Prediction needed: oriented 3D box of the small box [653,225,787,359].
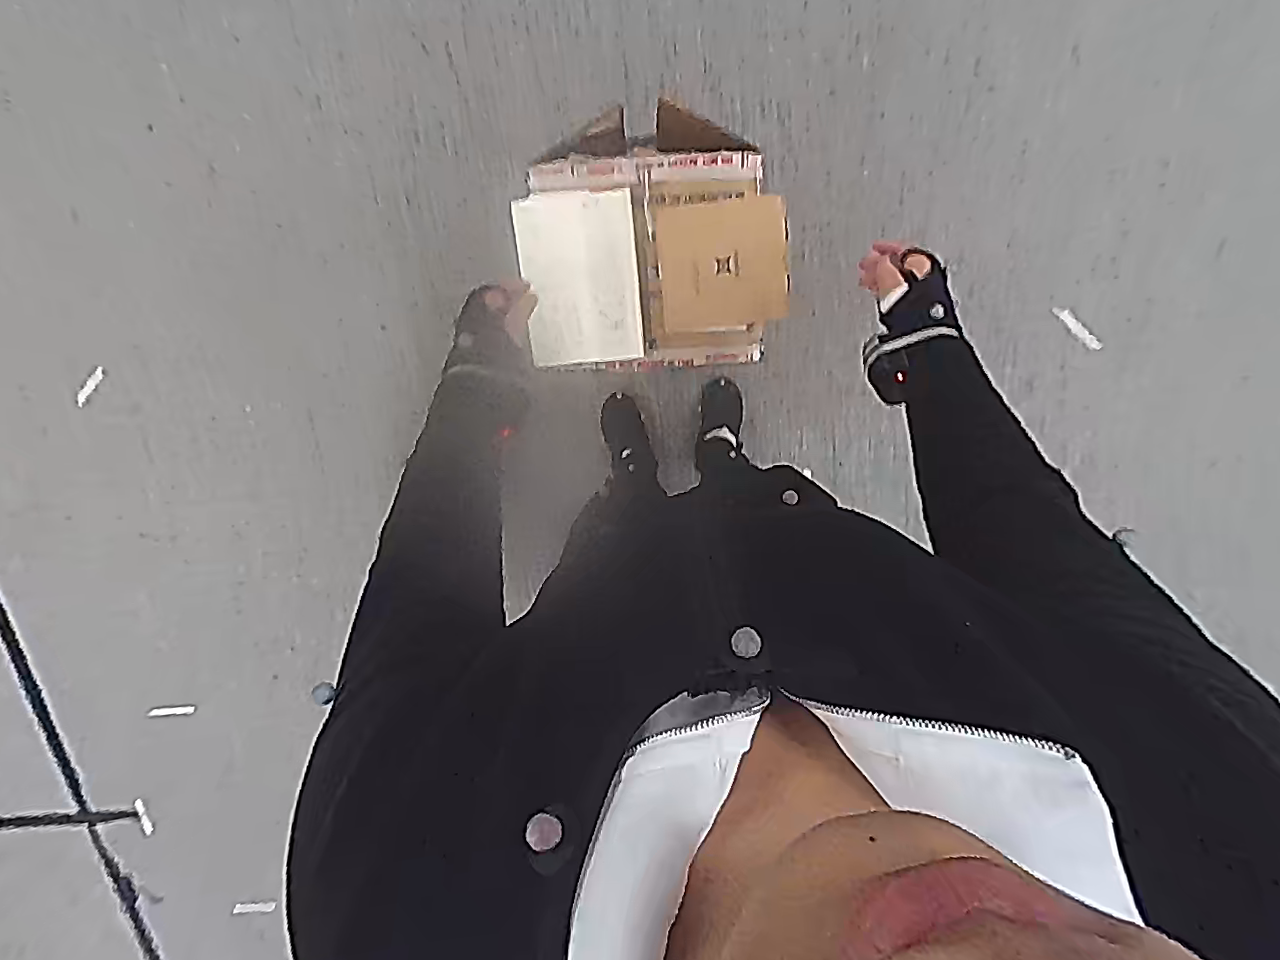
[{"bbox_3d":[0.117,-0.286,0.841,0.179,0.176,0.168,-7,105,2],"label":"small box"}]
